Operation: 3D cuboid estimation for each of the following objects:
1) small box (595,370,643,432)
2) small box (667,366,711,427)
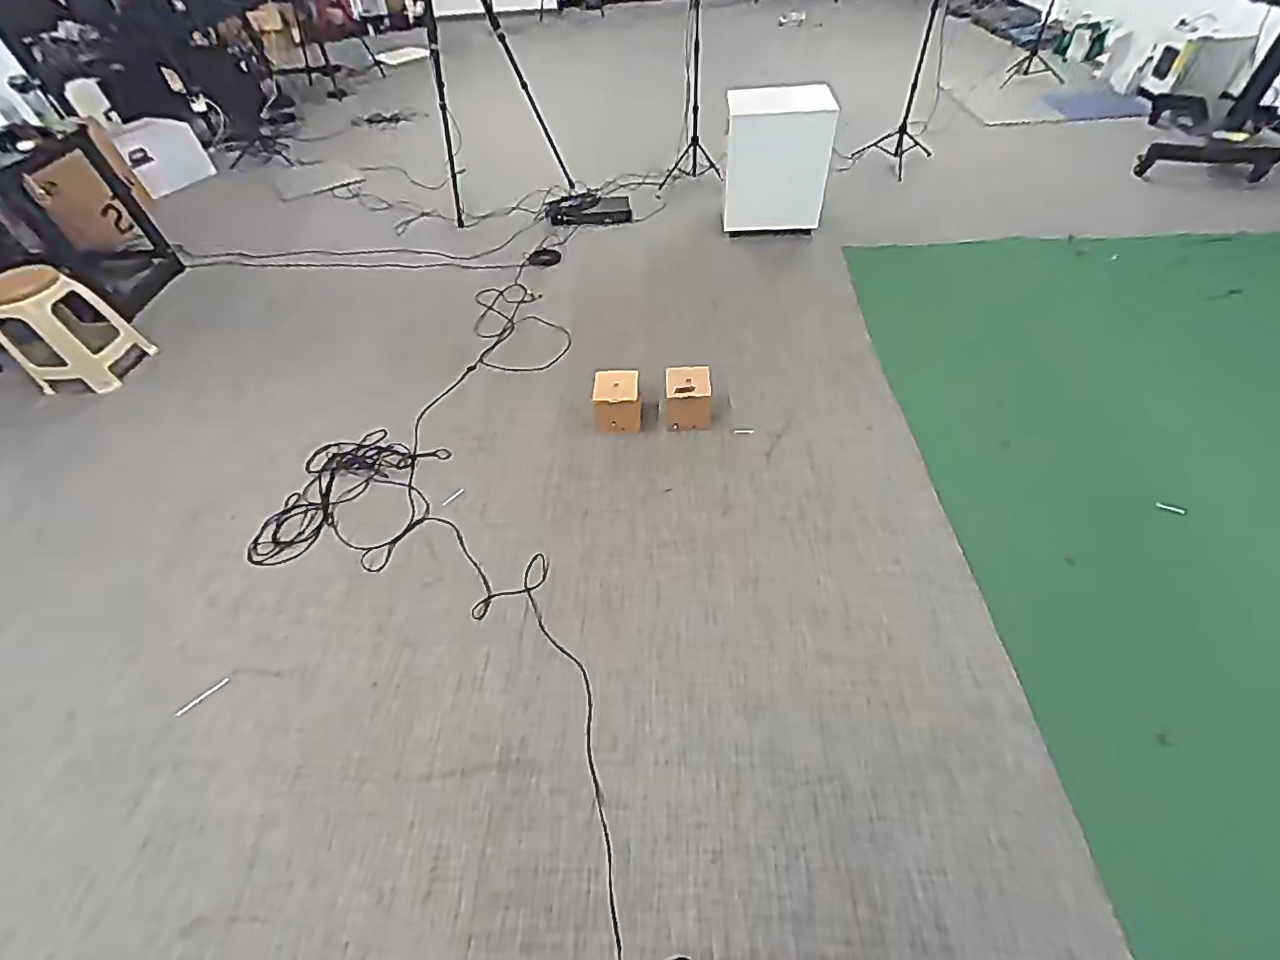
[{"bbox_3d":[-0.076,-0.305,2.094,0.168,0.176,0.179,-1,50,4],"label":"small box"},{"bbox_3d":[0.189,-0.315,2.078,0.168,0.176,0.179,-1,49,4],"label":"small box"}]
